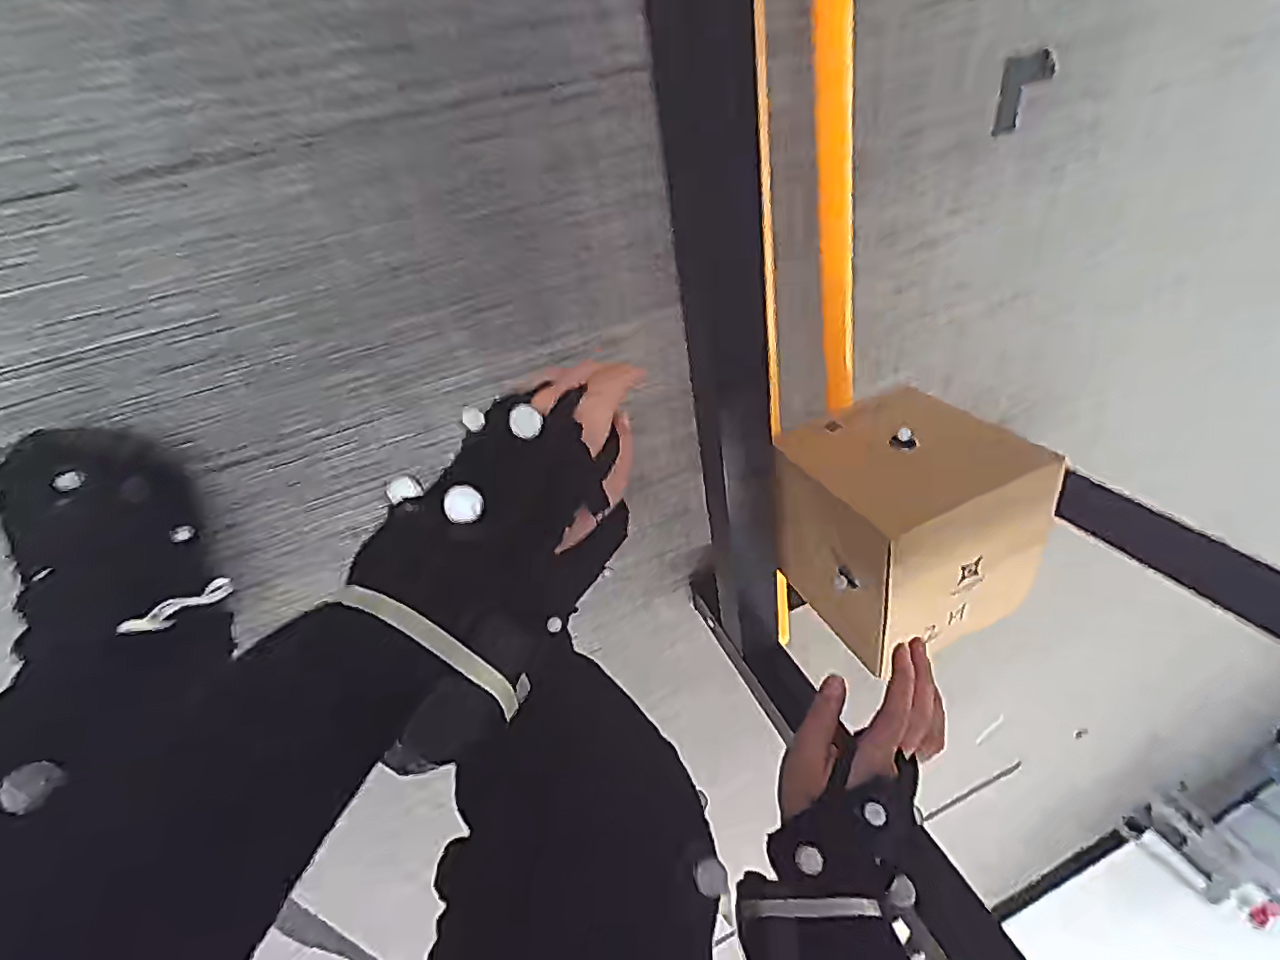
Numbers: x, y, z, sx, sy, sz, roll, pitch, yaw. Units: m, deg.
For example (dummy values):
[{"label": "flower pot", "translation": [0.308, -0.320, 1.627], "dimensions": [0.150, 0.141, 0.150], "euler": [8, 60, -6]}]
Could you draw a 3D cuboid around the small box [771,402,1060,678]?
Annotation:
[{"label": "small box", "translation": [0.238, 0.042, 0.513], "dimensions": [0.168, 0.176, 0.179], "euler": [-20, 125, -11]}]
